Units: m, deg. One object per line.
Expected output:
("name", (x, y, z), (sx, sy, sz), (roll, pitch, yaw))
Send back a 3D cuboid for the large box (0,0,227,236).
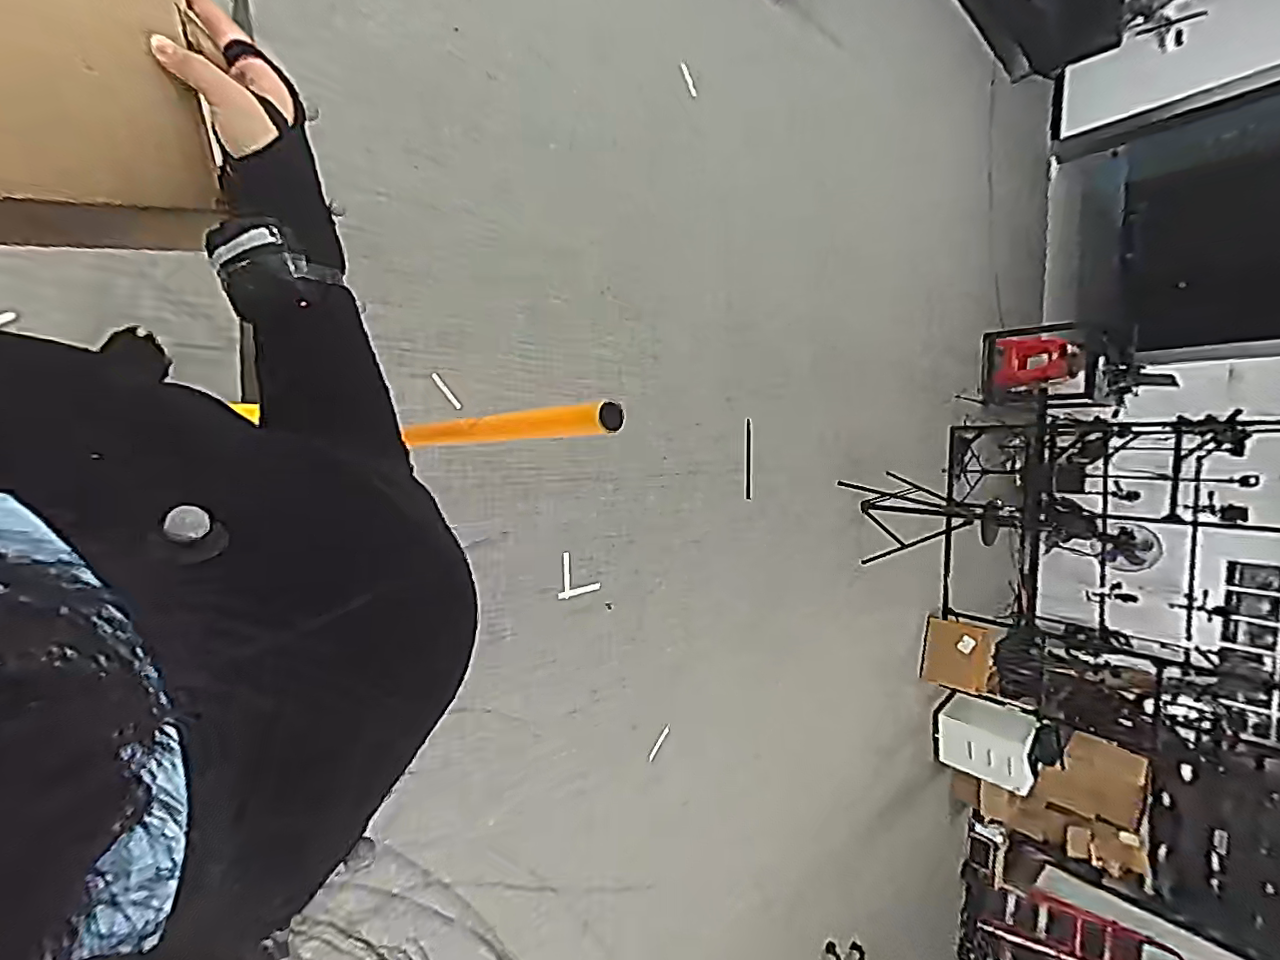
("large box", (-0.575, -0.352, 0.368), (0.408, 0.320, 0.320), (-16, 112, -37))
